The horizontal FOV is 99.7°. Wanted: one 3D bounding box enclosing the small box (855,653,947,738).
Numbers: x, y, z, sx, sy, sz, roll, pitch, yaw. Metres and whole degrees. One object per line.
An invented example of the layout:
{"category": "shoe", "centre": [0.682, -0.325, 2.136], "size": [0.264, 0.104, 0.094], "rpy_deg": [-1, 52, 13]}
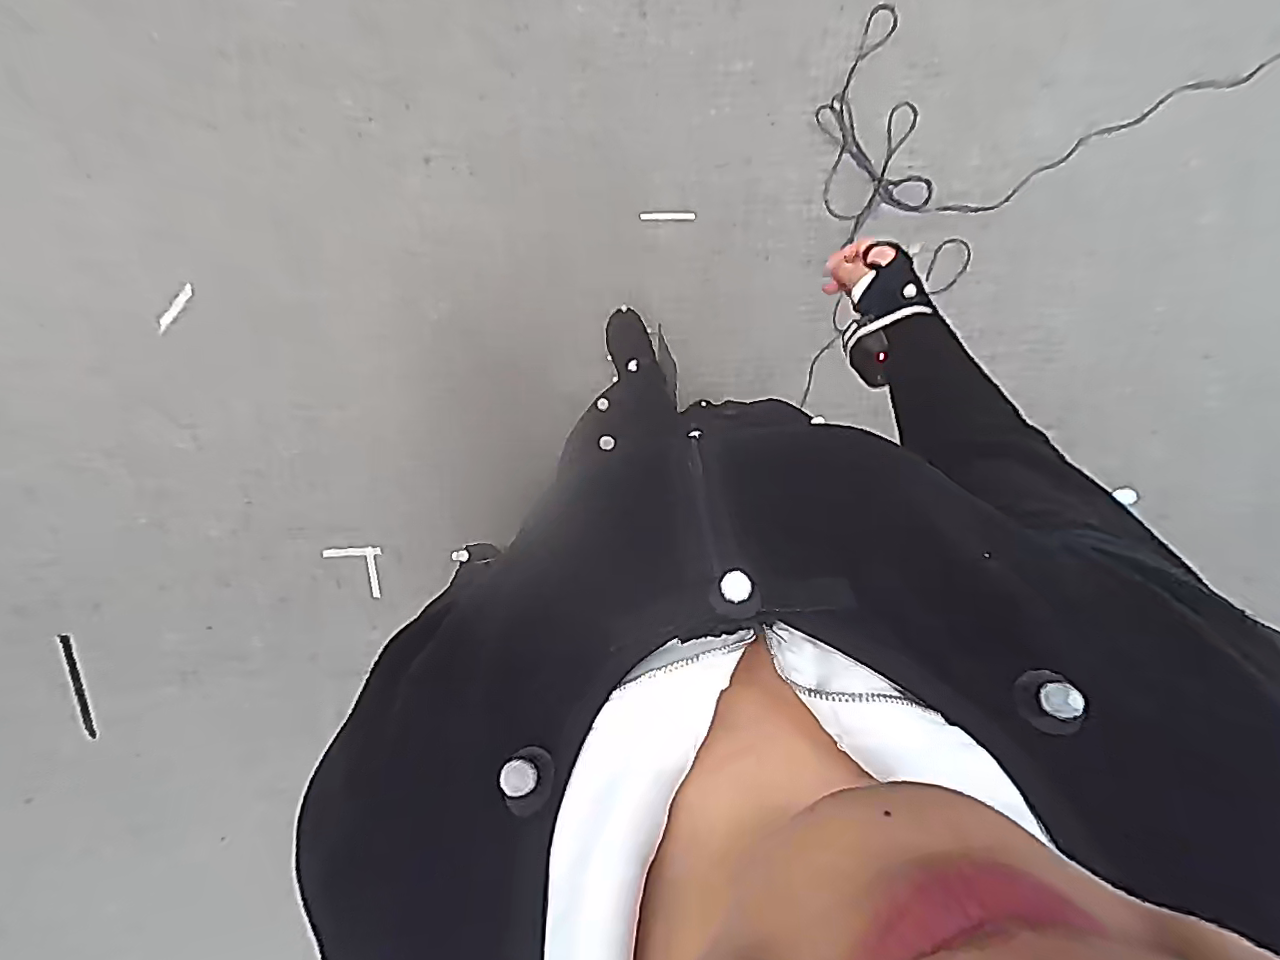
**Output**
{"category": "small box", "centre": [0.733, 0.605, 1.532], "size": [0.179, 0.176, 0.168], "rpy_deg": [-1, 102, 3]}

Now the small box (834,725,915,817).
{"category": "small box", "centre": [0.682, 0.852, 1.589], "size": [0.168, 0.176, 0.179], "rpy_deg": [-1, 102, 1]}
